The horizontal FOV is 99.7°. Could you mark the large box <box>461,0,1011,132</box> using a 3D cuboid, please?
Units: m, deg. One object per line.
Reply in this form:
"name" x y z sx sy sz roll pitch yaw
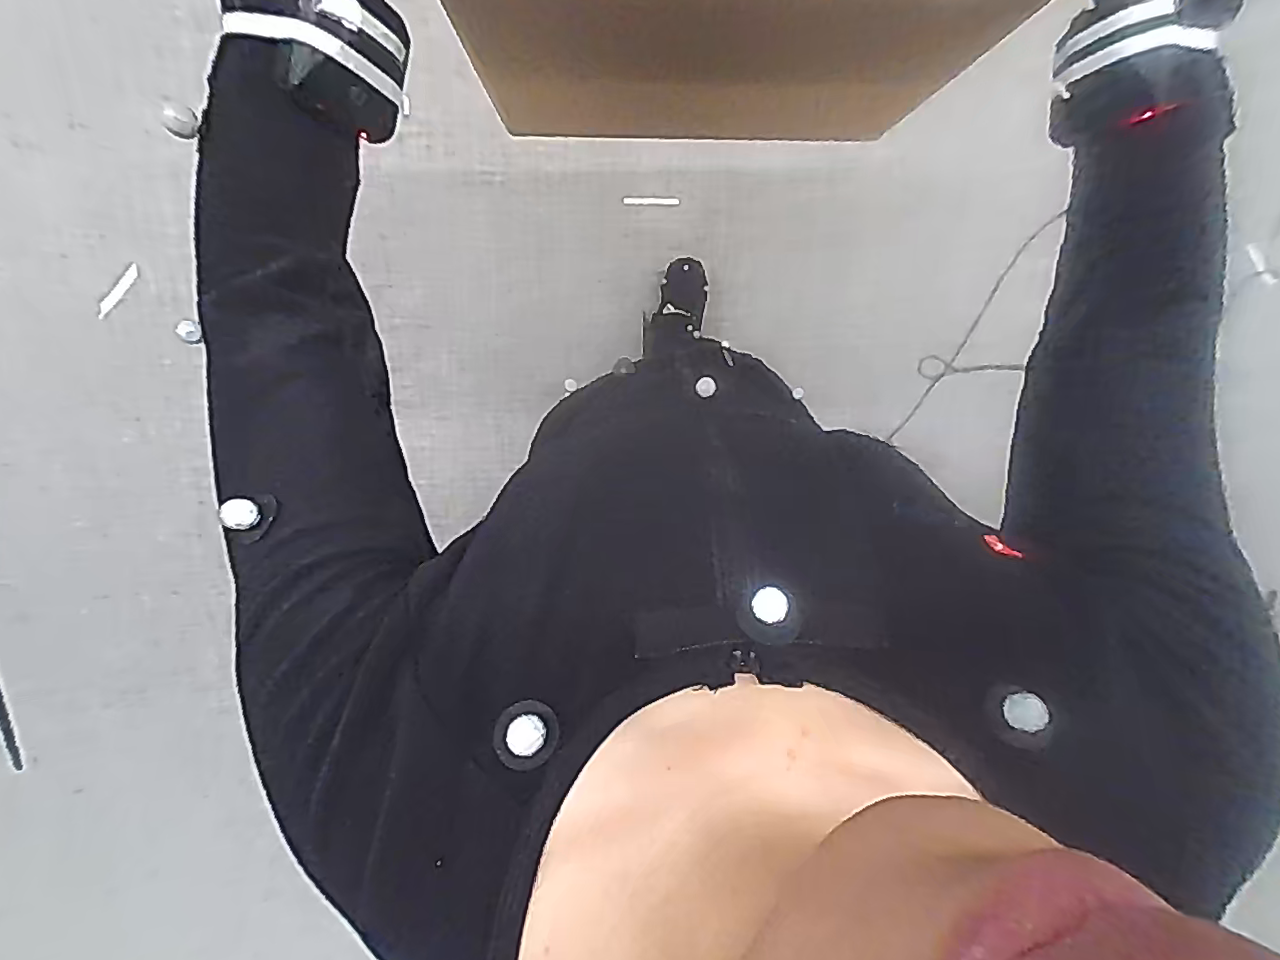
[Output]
"large box" 0.064 -0.495 0.411 0.408 0.320 0.320 -1 104 -3
